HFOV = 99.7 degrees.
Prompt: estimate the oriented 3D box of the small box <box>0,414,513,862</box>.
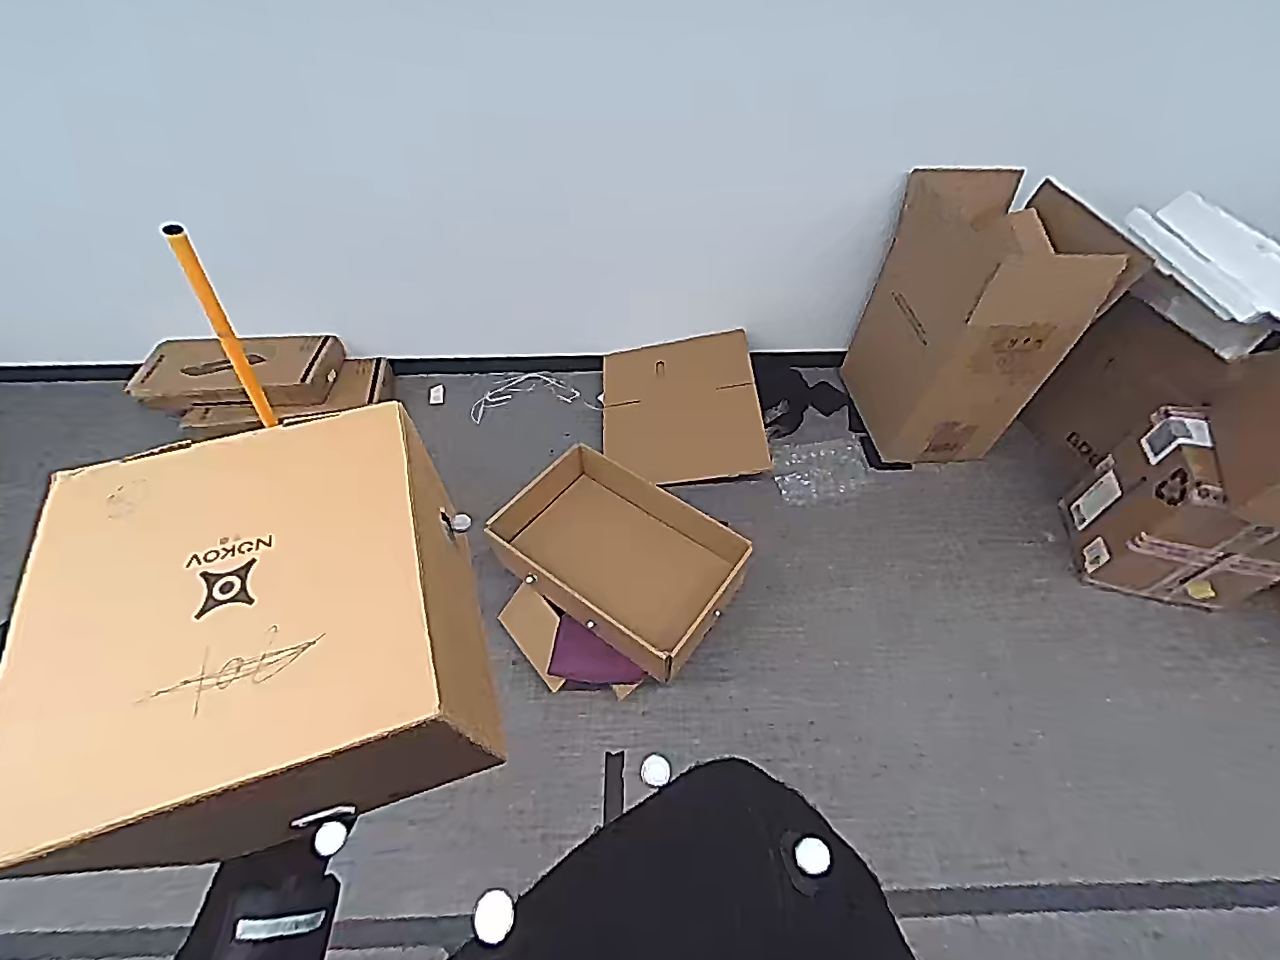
[{"bbox_3d":[-0.182,0.093,0.318,0.168,0.176,0.179,-15,60,-12],"label":"small box"}]
